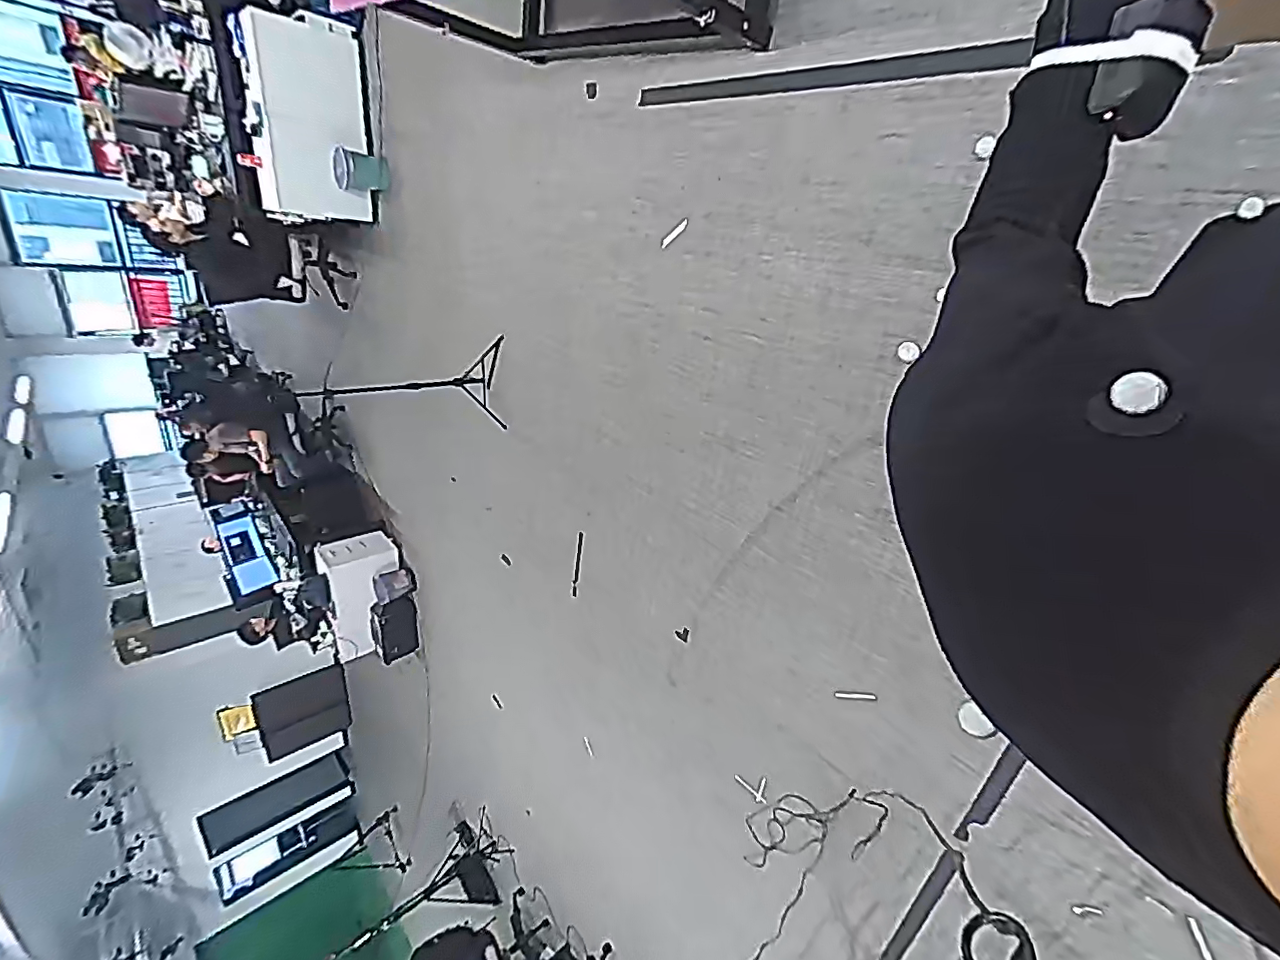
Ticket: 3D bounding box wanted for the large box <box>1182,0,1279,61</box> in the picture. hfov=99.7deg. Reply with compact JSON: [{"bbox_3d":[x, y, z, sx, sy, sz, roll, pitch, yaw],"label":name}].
[{"bbox_3d":[0.583,-0.436,0.249,0.408,0.320,0.320,26,127,38],"label":"large box"}]
